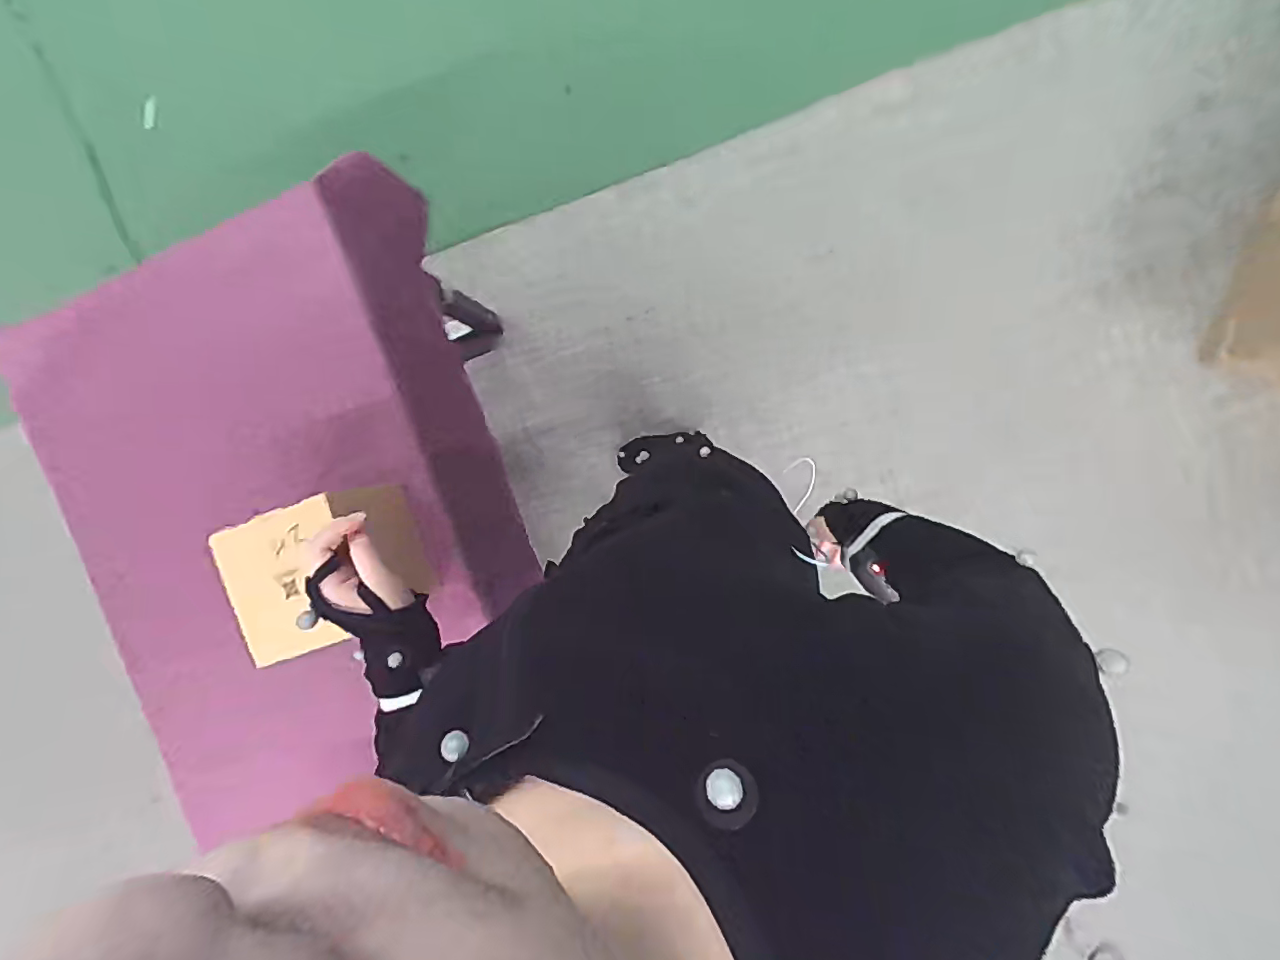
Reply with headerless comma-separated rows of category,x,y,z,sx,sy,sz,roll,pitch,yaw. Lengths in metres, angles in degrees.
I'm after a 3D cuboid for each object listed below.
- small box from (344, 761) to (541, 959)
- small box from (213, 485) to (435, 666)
small box,-0.256,0.530,0.744,0.168,0.176,0.179,-21,90,7
small box,-0.408,0.117,0.730,0.168,0.176,0.179,-19,92,7
